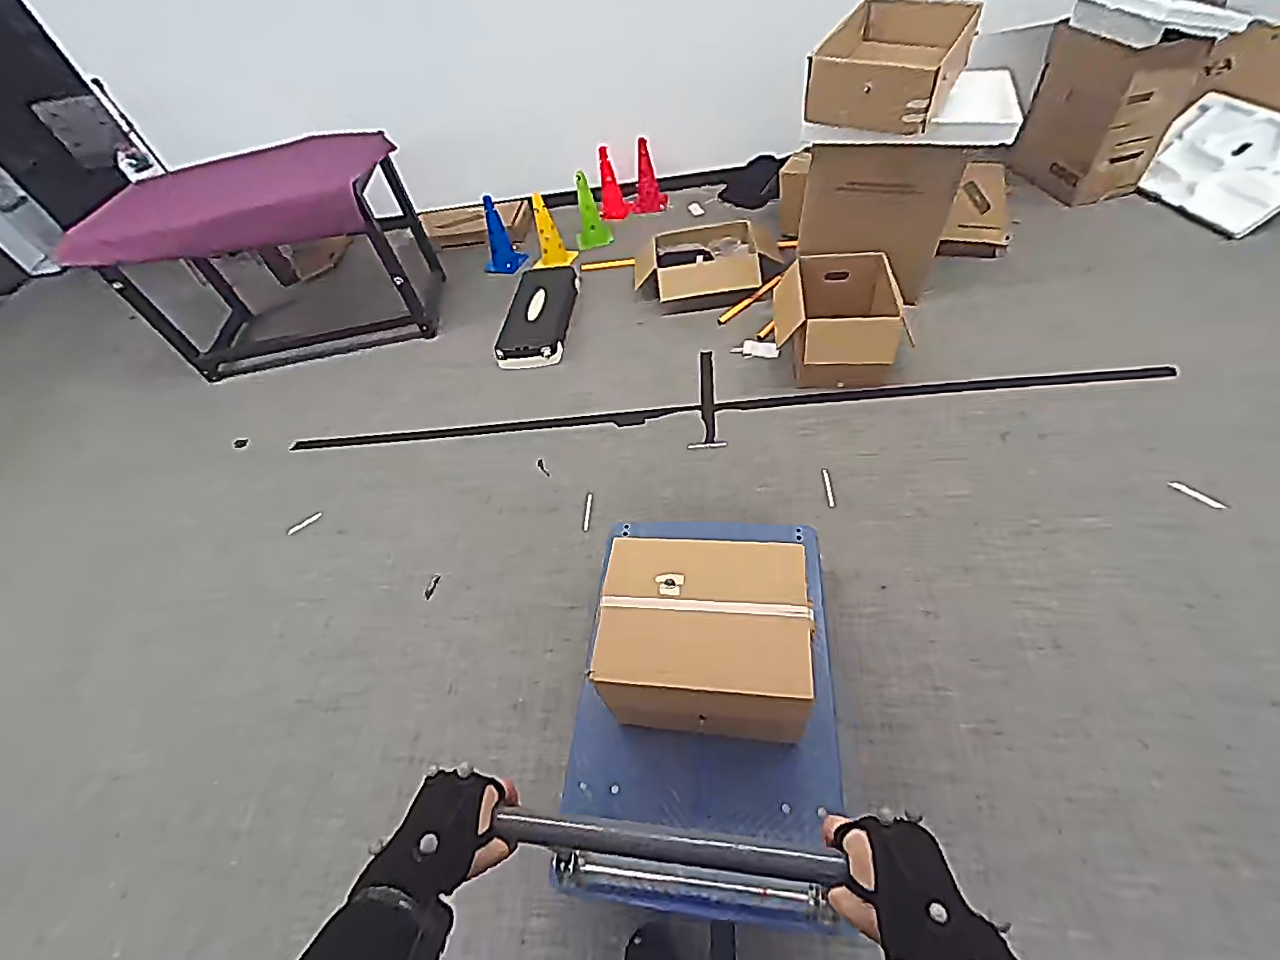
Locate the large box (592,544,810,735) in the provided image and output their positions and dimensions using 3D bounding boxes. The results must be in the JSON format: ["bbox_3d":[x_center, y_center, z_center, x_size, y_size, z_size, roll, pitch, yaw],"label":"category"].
[{"bbox_3d":[0.144,0.350,1.185,0.408,0.320,0.320,0,51,12],"label":"large box"}]
